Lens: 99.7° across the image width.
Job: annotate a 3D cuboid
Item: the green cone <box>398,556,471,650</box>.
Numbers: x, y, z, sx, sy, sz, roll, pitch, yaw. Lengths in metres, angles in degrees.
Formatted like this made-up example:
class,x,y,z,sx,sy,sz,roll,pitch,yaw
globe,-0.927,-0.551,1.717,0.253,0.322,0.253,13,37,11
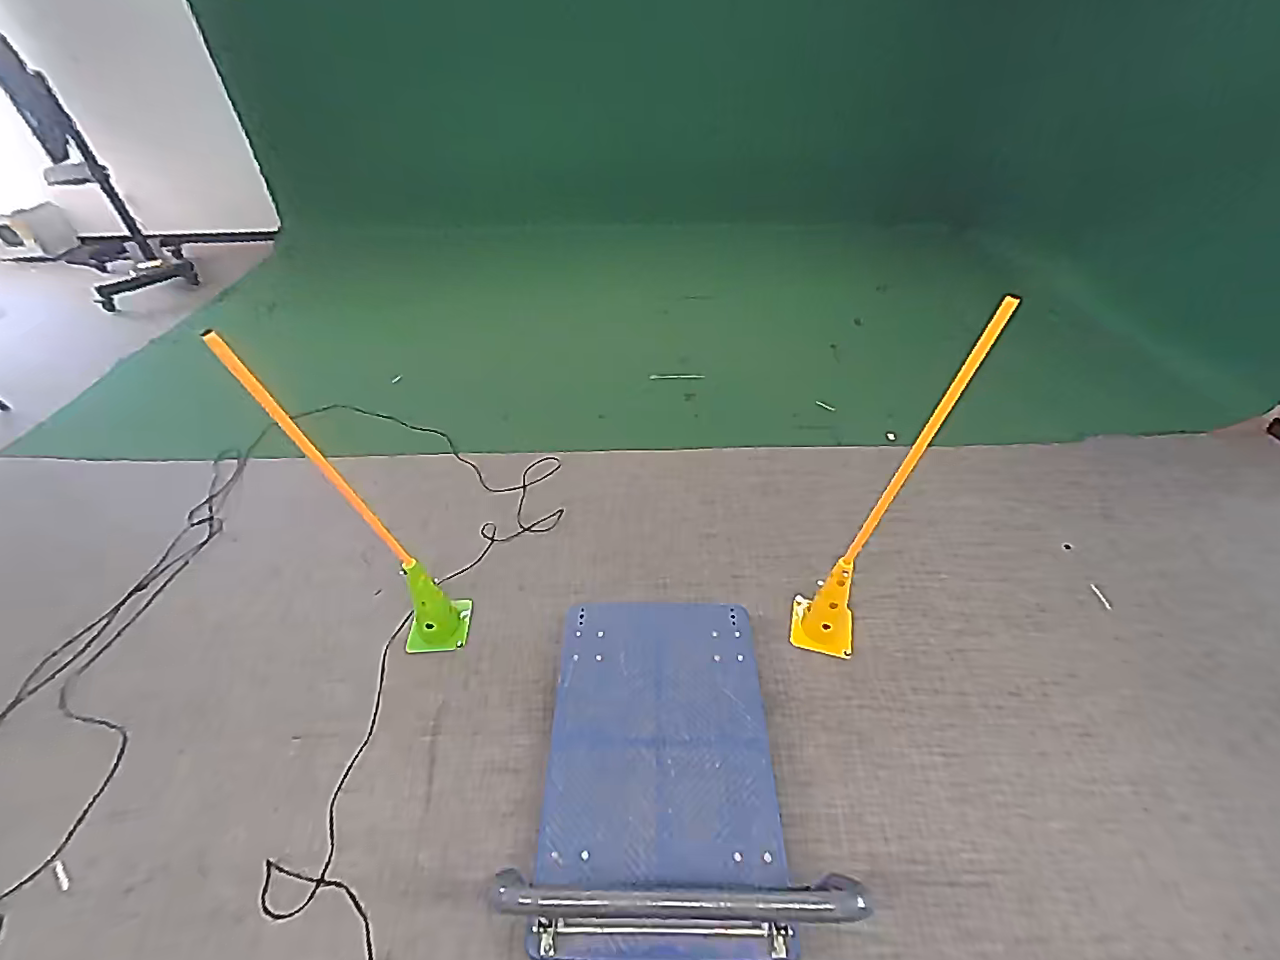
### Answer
class,x,y,z,sx,sy,sz,roll,pitch,yaw
green cone,-0.712,0.375,1.786,0.202,0.368,0.200,-5,43,-1
